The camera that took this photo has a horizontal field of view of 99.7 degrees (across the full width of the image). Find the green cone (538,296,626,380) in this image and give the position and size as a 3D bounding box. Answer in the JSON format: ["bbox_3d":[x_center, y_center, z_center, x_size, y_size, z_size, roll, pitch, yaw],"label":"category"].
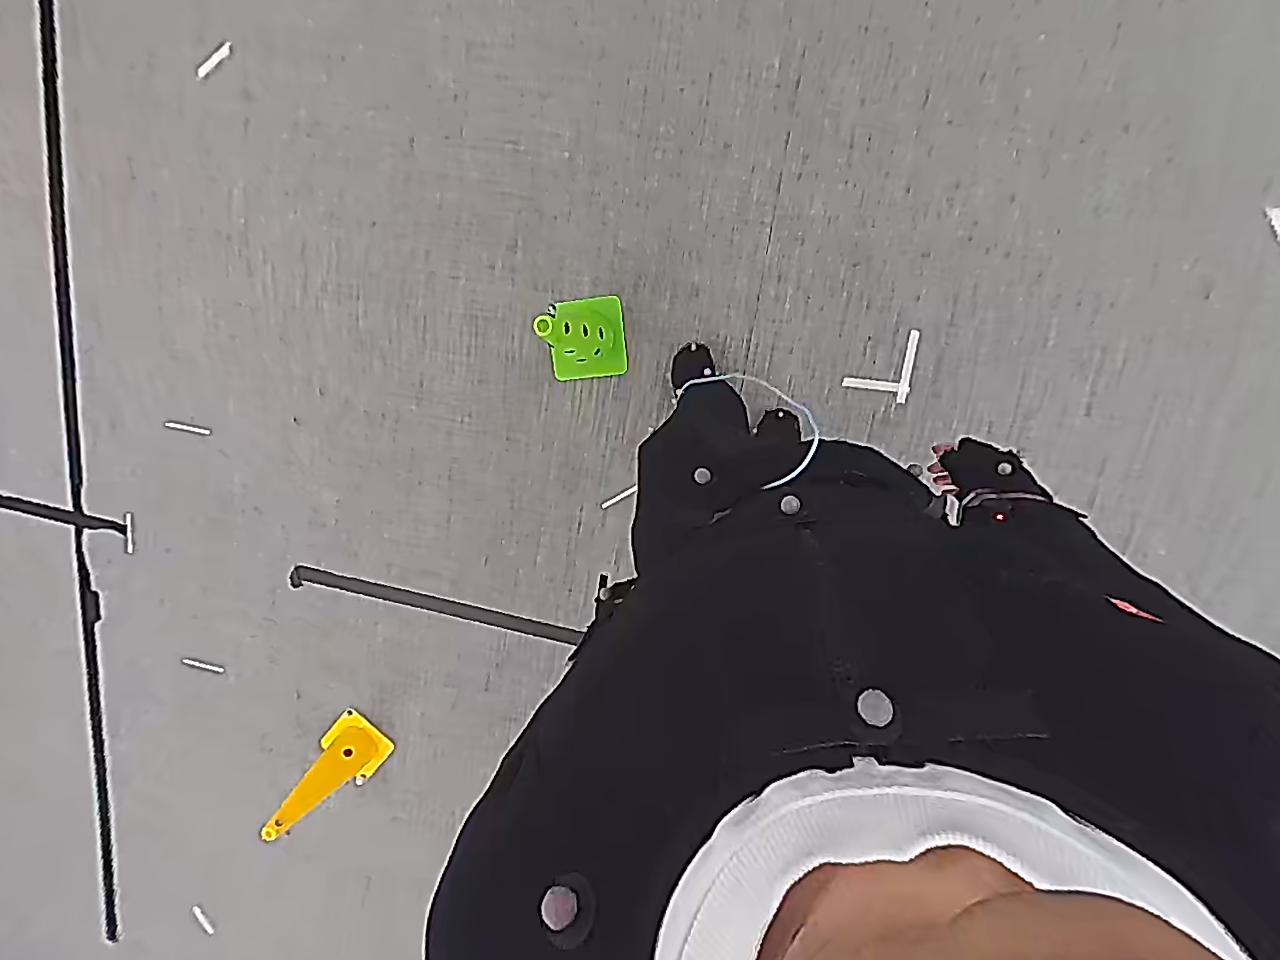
[{"bbox_3d":[-0.165,-0.336,1.245,0.202,0.368,0.200,-5,100,9],"label":"green cone"}]

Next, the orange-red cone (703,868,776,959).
[{"bbox_3d":[0.273,1.314,1.482,0.199,0.360,0.198,10,101,8],"label":"orange-red cone"}]
